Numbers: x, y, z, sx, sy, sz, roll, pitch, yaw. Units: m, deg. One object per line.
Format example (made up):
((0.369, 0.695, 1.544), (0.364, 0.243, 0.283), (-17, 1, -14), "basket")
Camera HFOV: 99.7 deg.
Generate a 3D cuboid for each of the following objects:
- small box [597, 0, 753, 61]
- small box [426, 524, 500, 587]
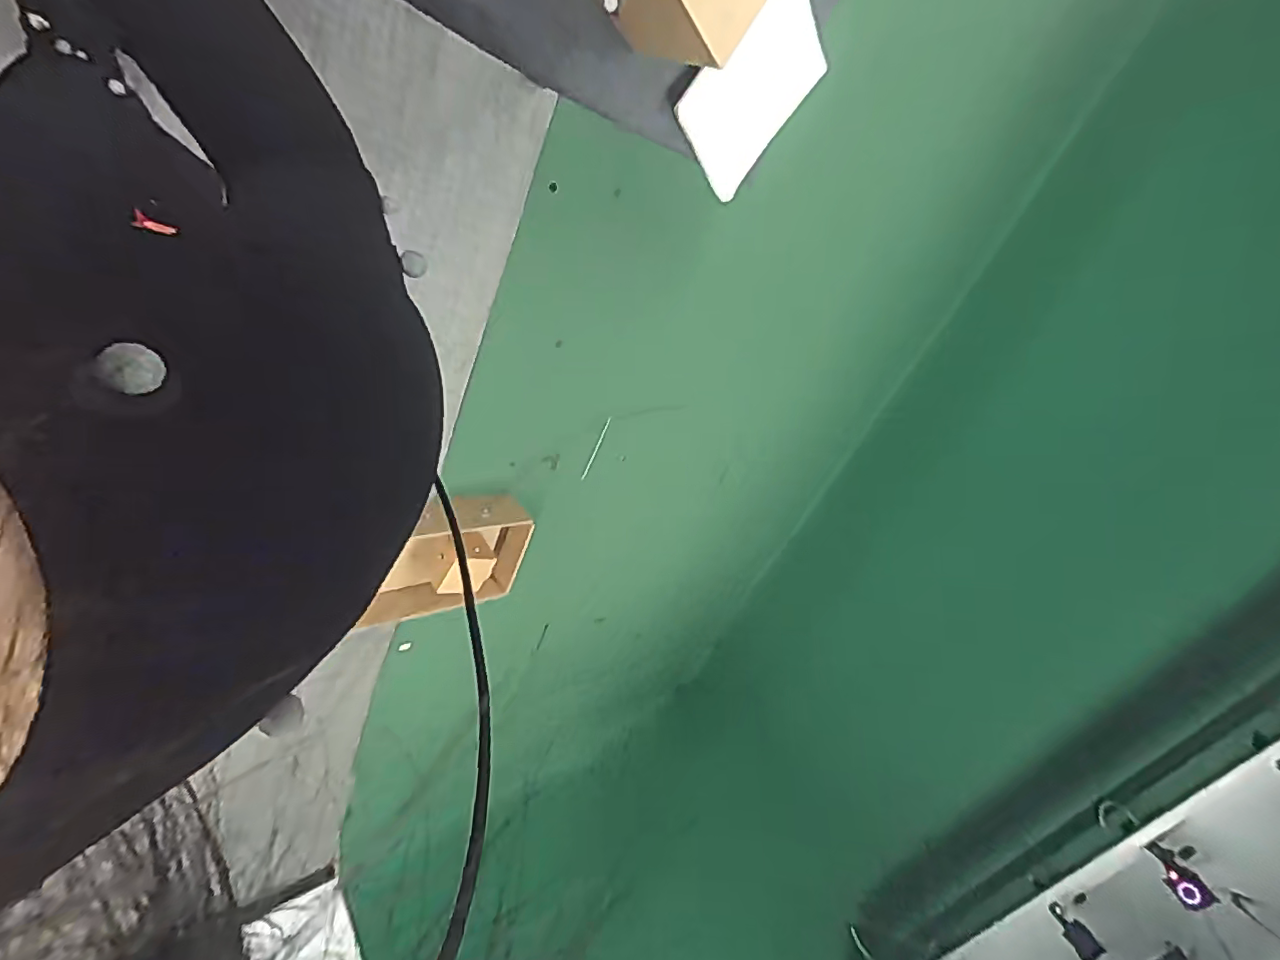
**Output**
((0.036, -0.593, 0.560), (0.168, 0.176, 0.179), (18, 112, -53), "small box")
((-0.659, 0.277, 1.995), (0.179, 0.176, 0.168), (12, 118, -51), "small box")
